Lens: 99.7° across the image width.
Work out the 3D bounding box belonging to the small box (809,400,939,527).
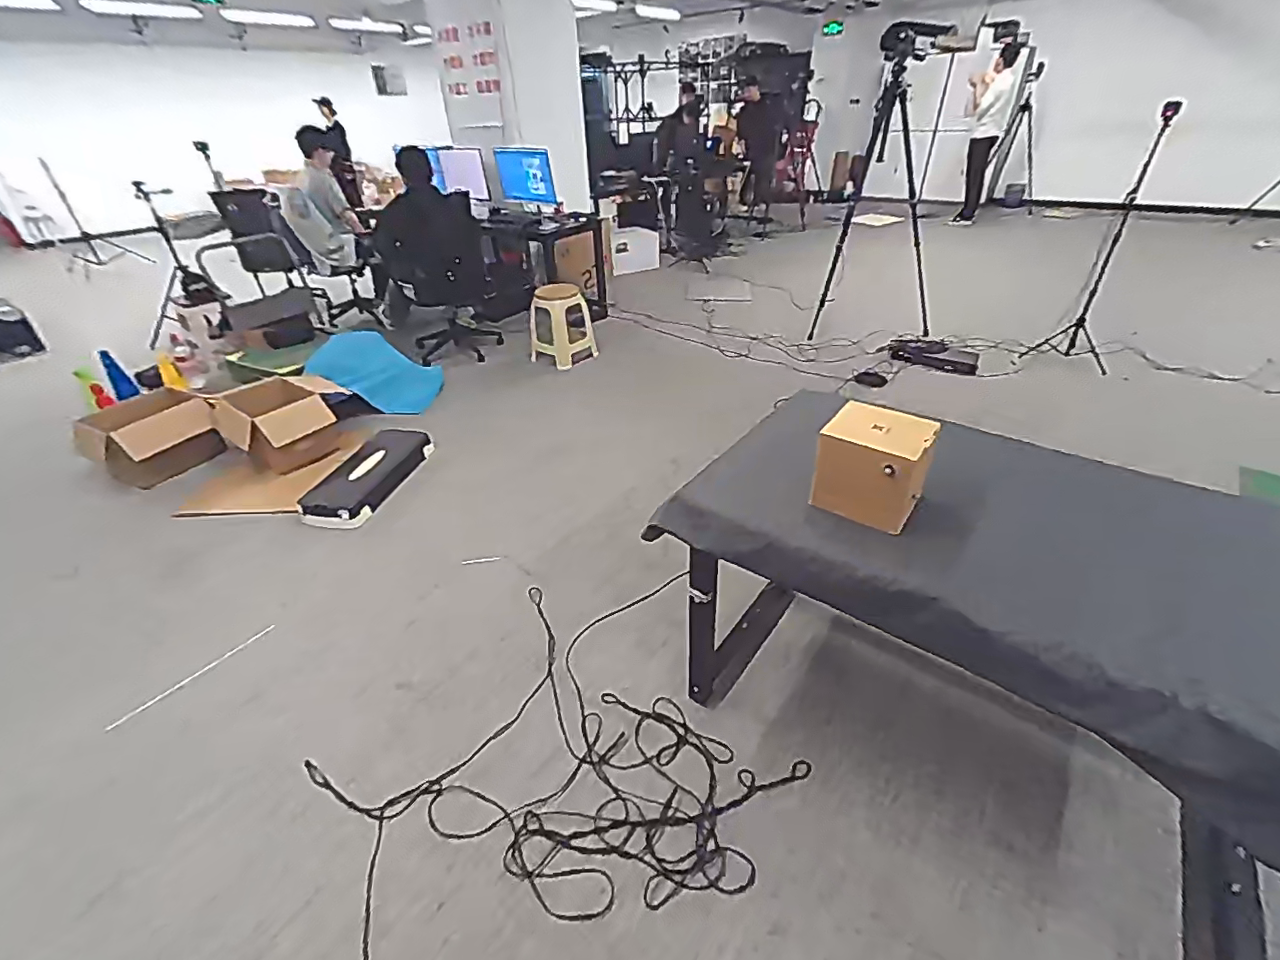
[{"bbox_3d":[0.447,-0.034,1.052,0.179,0.176,0.168,22,41,31],"label":"small box"}]
